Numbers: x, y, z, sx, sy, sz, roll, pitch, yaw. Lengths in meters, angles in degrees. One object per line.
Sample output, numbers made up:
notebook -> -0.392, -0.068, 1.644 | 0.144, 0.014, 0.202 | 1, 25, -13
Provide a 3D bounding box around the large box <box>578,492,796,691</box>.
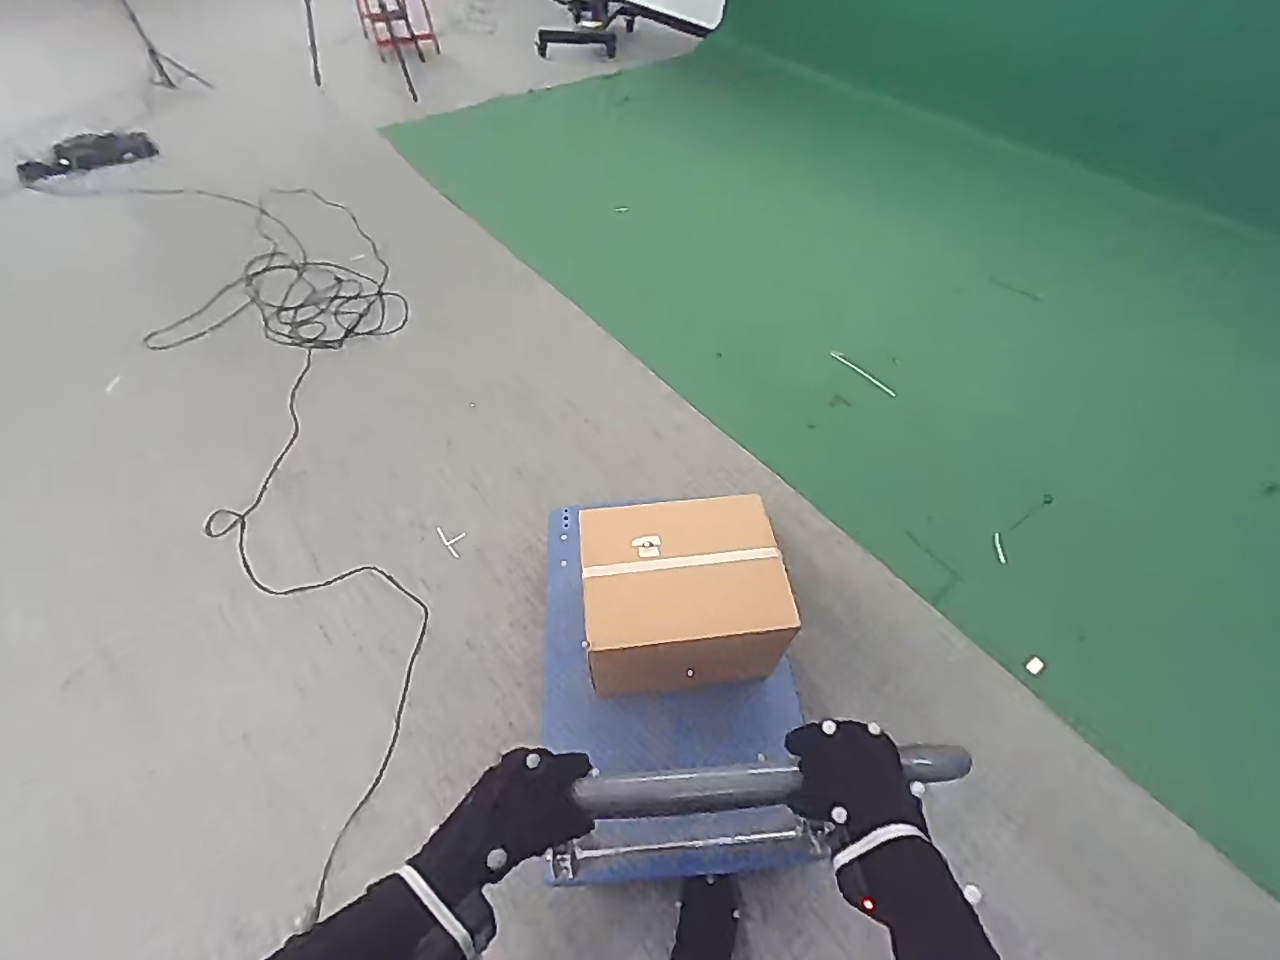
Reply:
large box -> 0.082, 0.257, 1.217 | 0.408, 0.320, 0.320 | -6, 53, -5
